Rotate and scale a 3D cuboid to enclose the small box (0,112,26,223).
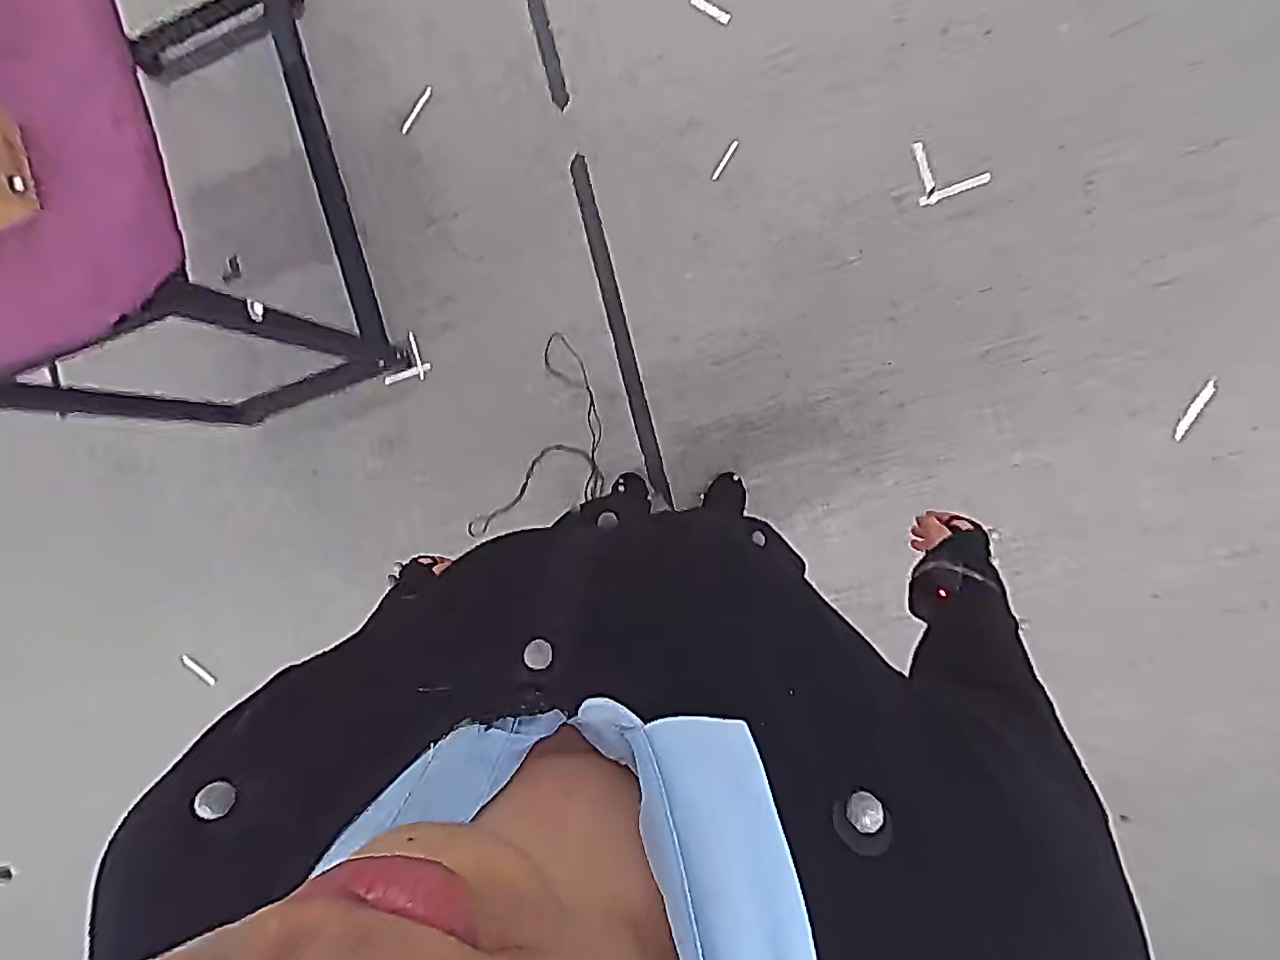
[{"bbox_3d":[-1.106,-0.502,0.824,0.179,0.176,0.168,-15,90,9],"label":"small box"}]
